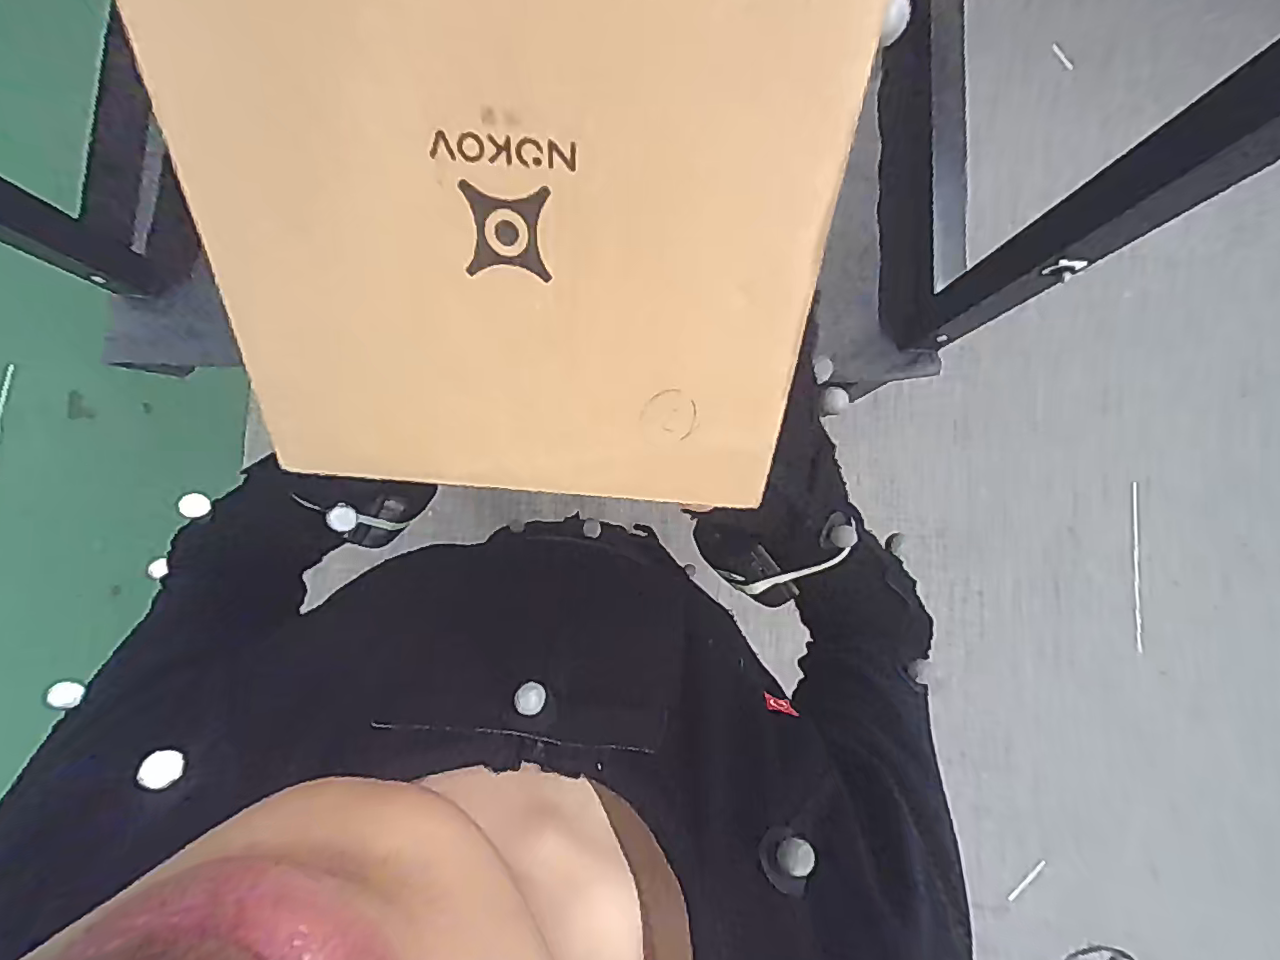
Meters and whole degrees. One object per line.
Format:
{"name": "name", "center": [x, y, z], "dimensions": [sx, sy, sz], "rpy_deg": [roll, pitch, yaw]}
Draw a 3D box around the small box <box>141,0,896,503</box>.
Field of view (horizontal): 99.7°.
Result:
{"name": "small box", "center": [-0.026, -0.115, 0.205], "dimensions": [0.168, 0.176, 0.179], "rpy_deg": [5, 123, 0]}
